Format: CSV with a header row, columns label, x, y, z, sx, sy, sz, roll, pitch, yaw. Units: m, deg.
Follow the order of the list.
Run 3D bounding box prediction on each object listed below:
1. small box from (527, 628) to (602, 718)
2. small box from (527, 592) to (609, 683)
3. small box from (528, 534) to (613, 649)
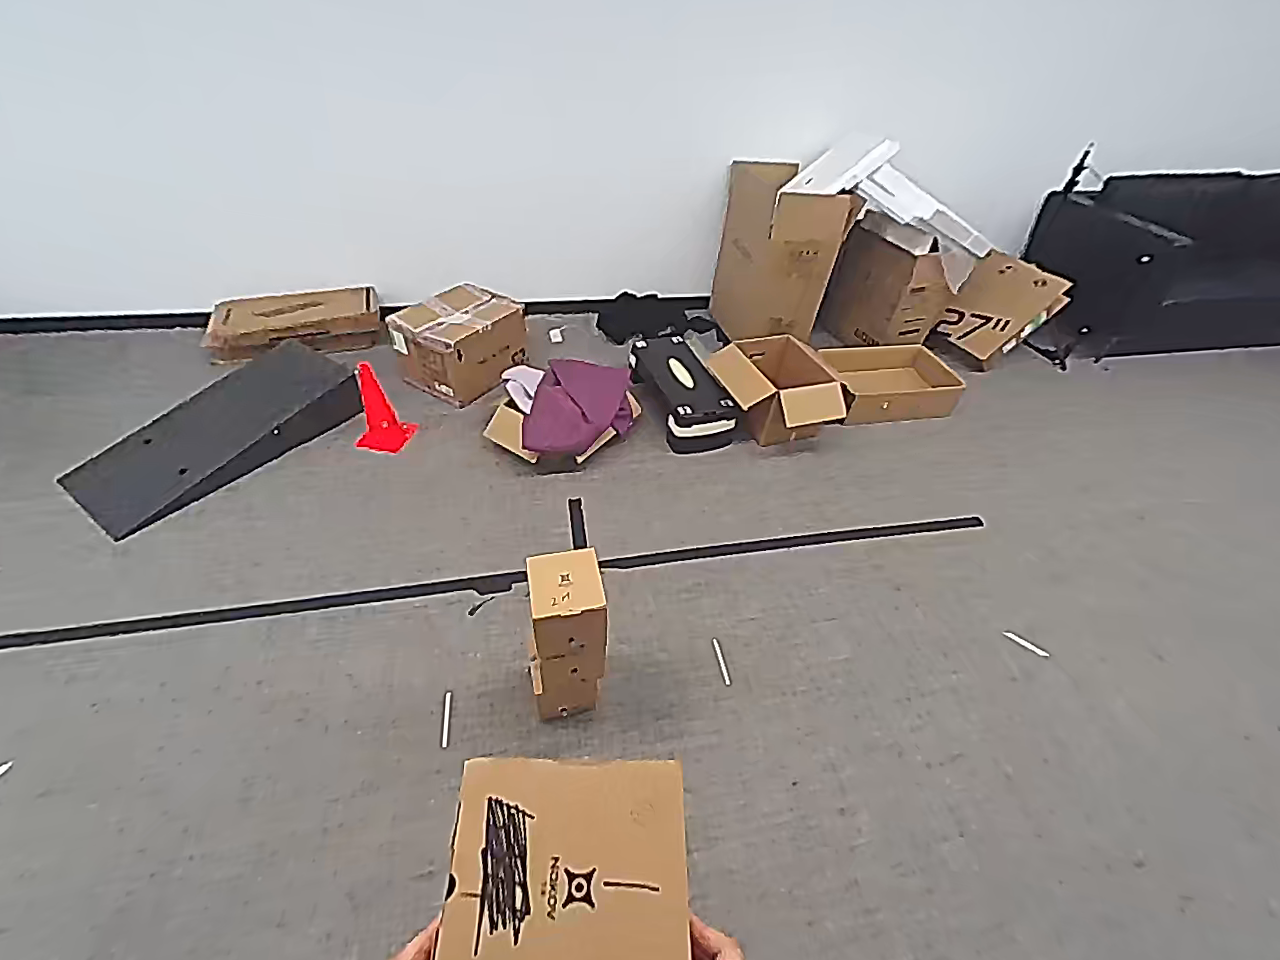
label,x,y,z,sx,sy,sz,roll,pitch,yaw
small box,-0.201,0.494,1.428,0.168,0.176,0.179,-10,47,-15
small box,-0.174,0.373,1.319,0.168,0.176,0.179,-11,46,-15
small box,-0.157,0.249,1.209,0.168,0.176,0.179,-8,45,-12
